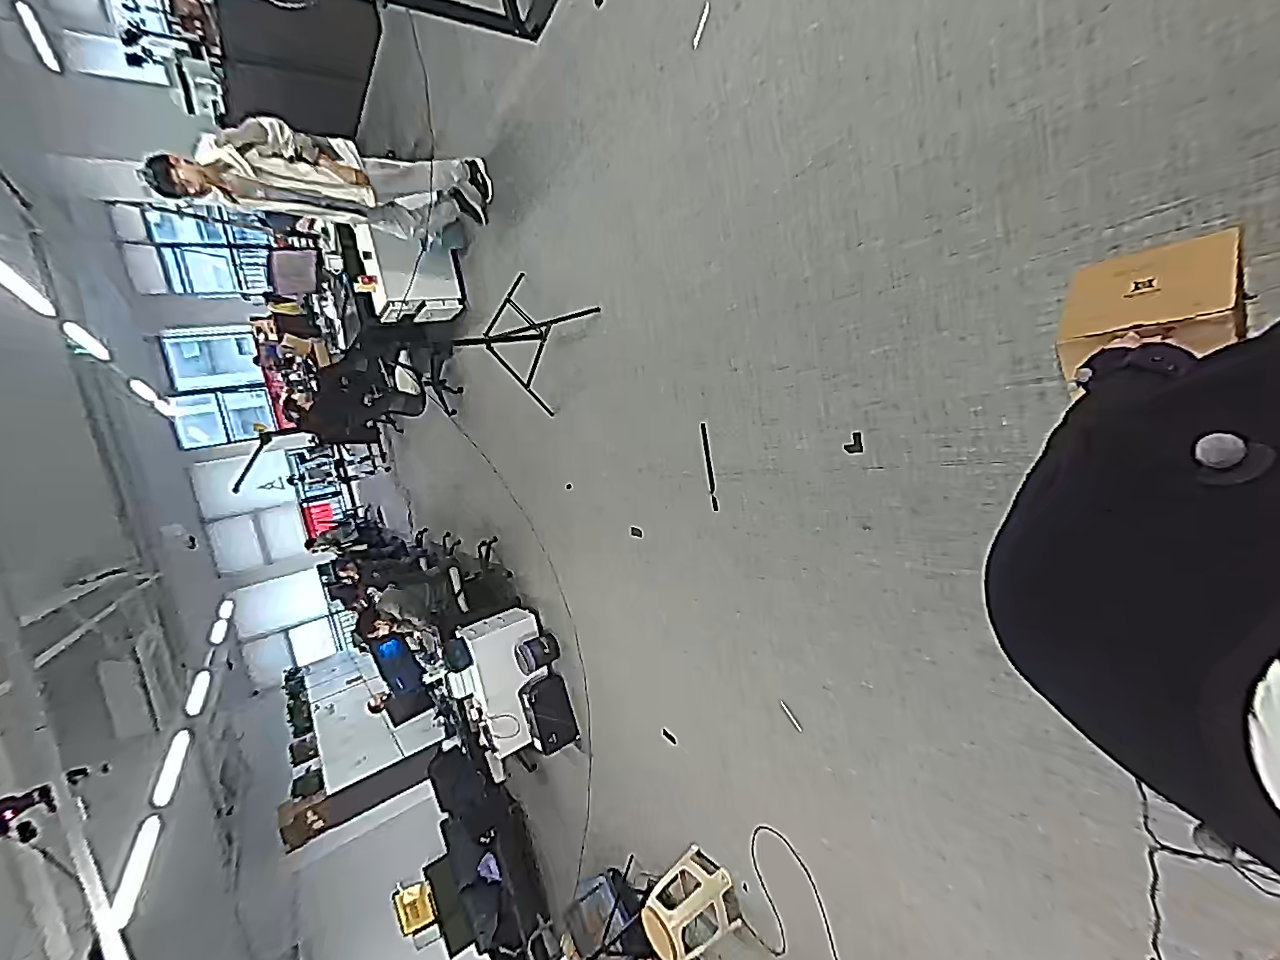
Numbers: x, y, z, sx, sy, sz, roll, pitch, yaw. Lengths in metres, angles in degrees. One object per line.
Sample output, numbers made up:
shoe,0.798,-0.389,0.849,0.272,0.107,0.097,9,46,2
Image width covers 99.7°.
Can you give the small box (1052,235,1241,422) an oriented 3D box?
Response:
small box,0.701,-0.192,0.745,0.168,0.179,0.176,-1,134,50
